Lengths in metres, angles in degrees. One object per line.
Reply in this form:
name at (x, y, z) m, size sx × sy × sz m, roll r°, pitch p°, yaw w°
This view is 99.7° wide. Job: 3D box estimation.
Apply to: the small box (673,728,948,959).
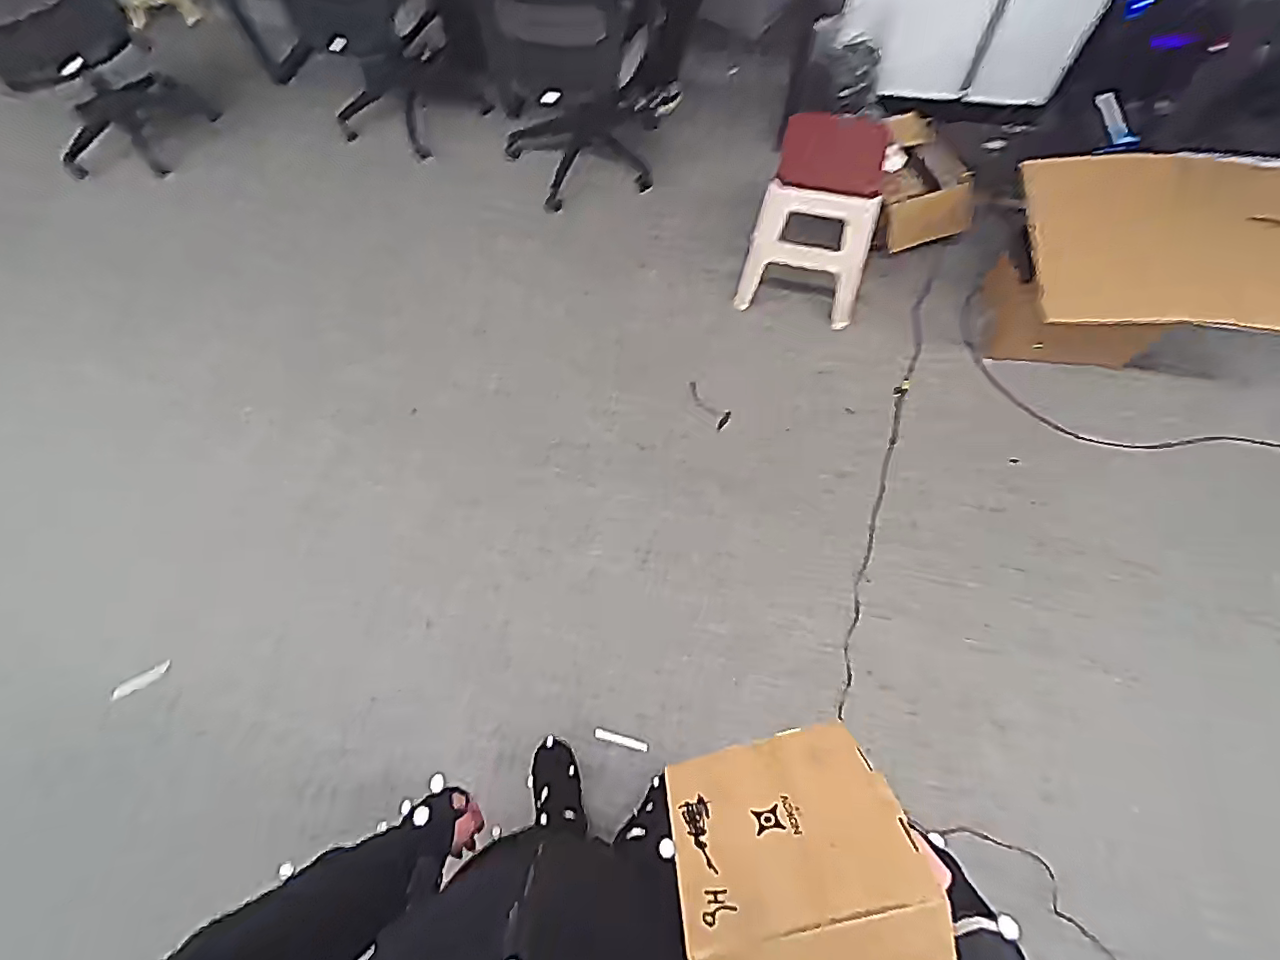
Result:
small box at (0.138, 0.356, 0.466) m, size 0.179 × 0.168 × 0.176 m, roll -15°, pitch 105°, yaw 0°
